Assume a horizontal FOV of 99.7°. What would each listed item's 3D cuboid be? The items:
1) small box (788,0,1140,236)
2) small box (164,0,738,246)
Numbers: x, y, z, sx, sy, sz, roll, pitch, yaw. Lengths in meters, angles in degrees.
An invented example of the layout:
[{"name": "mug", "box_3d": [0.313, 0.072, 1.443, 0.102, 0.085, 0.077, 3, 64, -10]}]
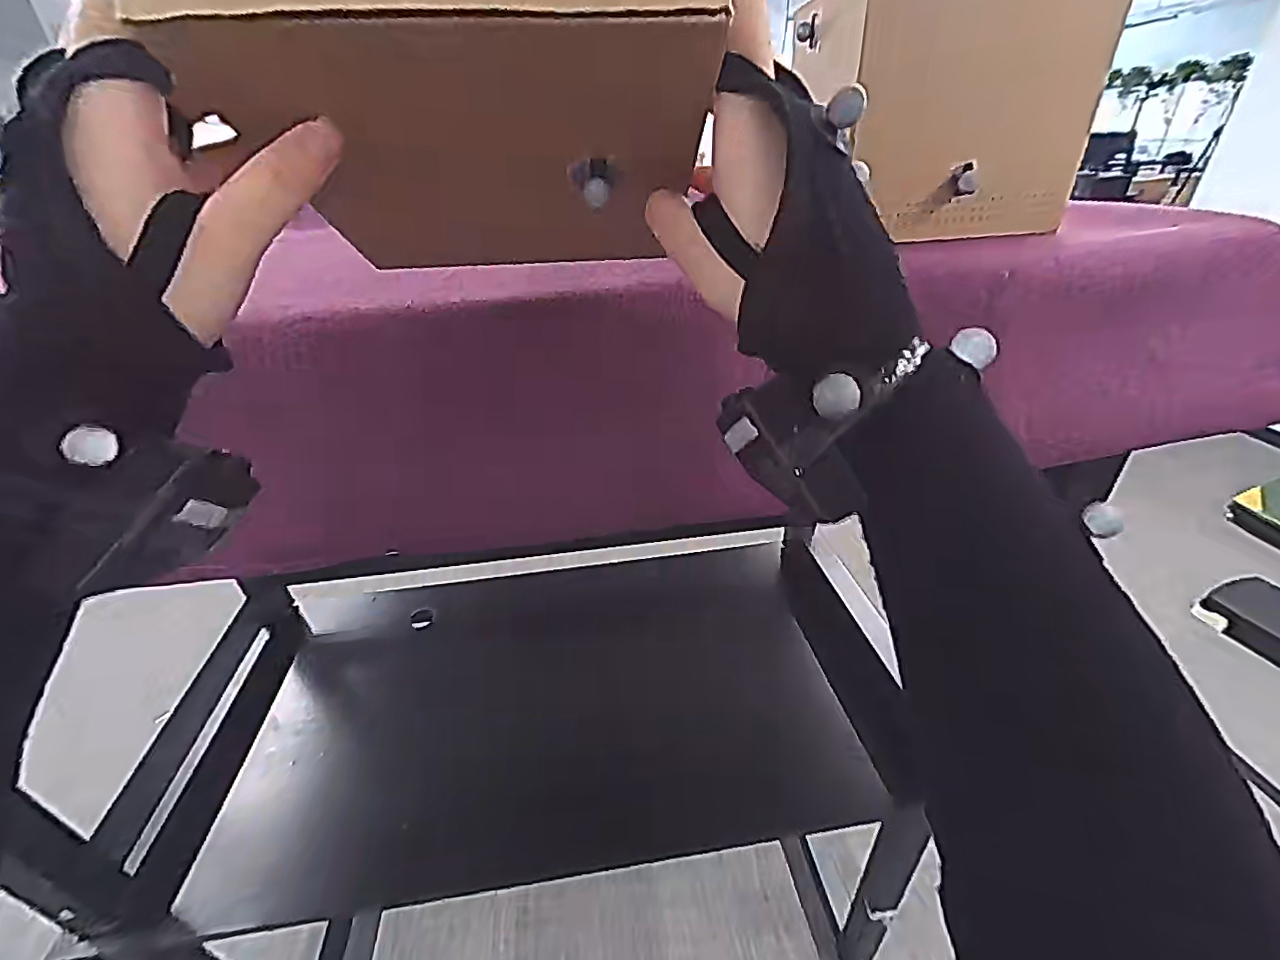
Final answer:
[{"name": "small box", "box_3d": [0.232, -0.302, 0.435, 0.179, 0.176, 0.168, -4, 31, -1]}, {"name": "small box", "box_3d": [-0.063, -0.222, 0.238, 0.179, 0.168, 0.176, -3, -3, -2]}]
